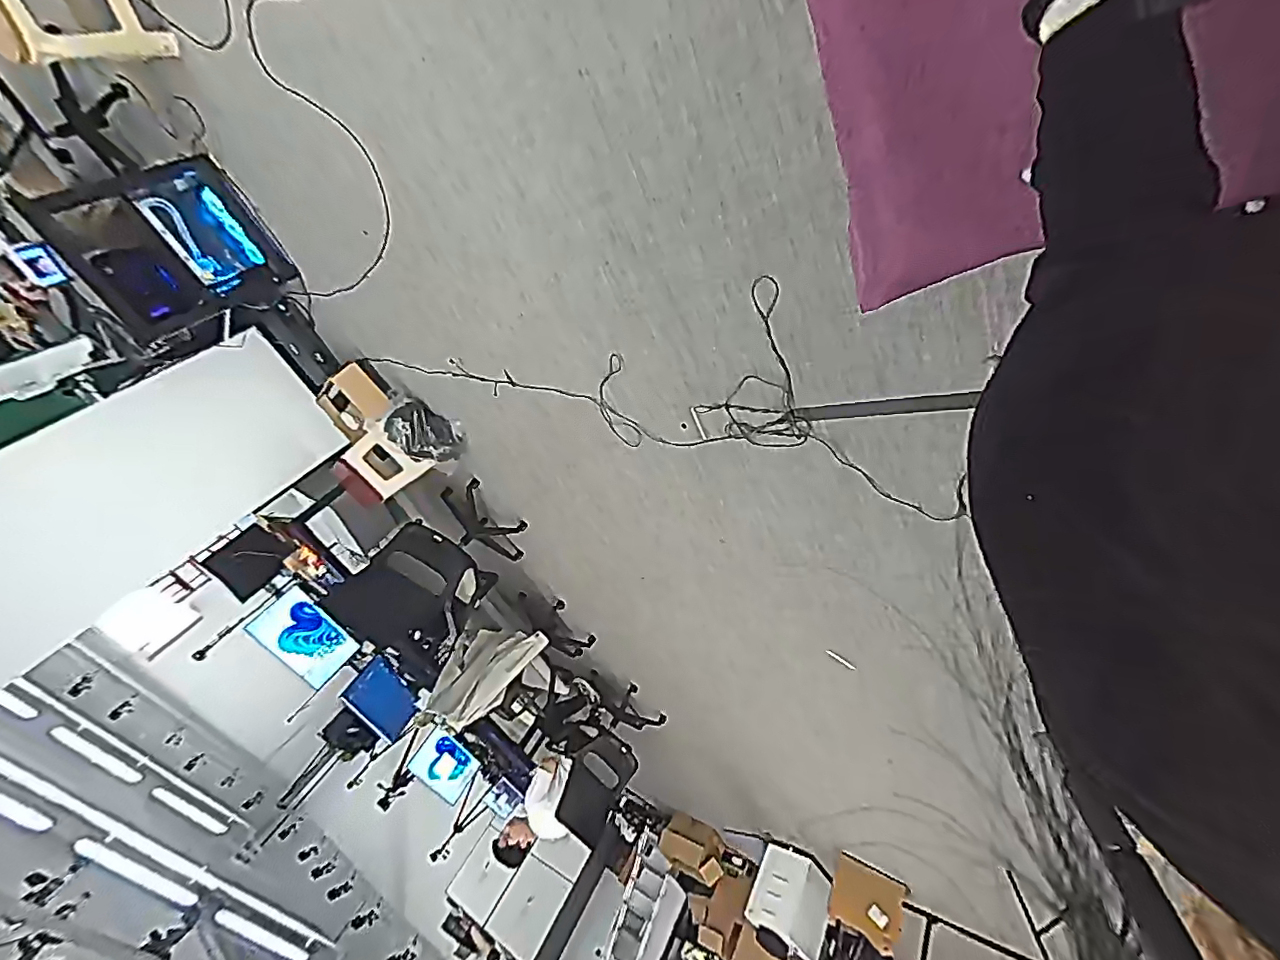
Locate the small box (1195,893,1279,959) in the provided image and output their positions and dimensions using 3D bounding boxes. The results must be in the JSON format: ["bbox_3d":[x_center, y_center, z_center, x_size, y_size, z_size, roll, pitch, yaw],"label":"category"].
[{"bbox_3d":[1.567,1.213,1.392,0.168,0.176,0.179,4,132,37],"label":"small box"}]
